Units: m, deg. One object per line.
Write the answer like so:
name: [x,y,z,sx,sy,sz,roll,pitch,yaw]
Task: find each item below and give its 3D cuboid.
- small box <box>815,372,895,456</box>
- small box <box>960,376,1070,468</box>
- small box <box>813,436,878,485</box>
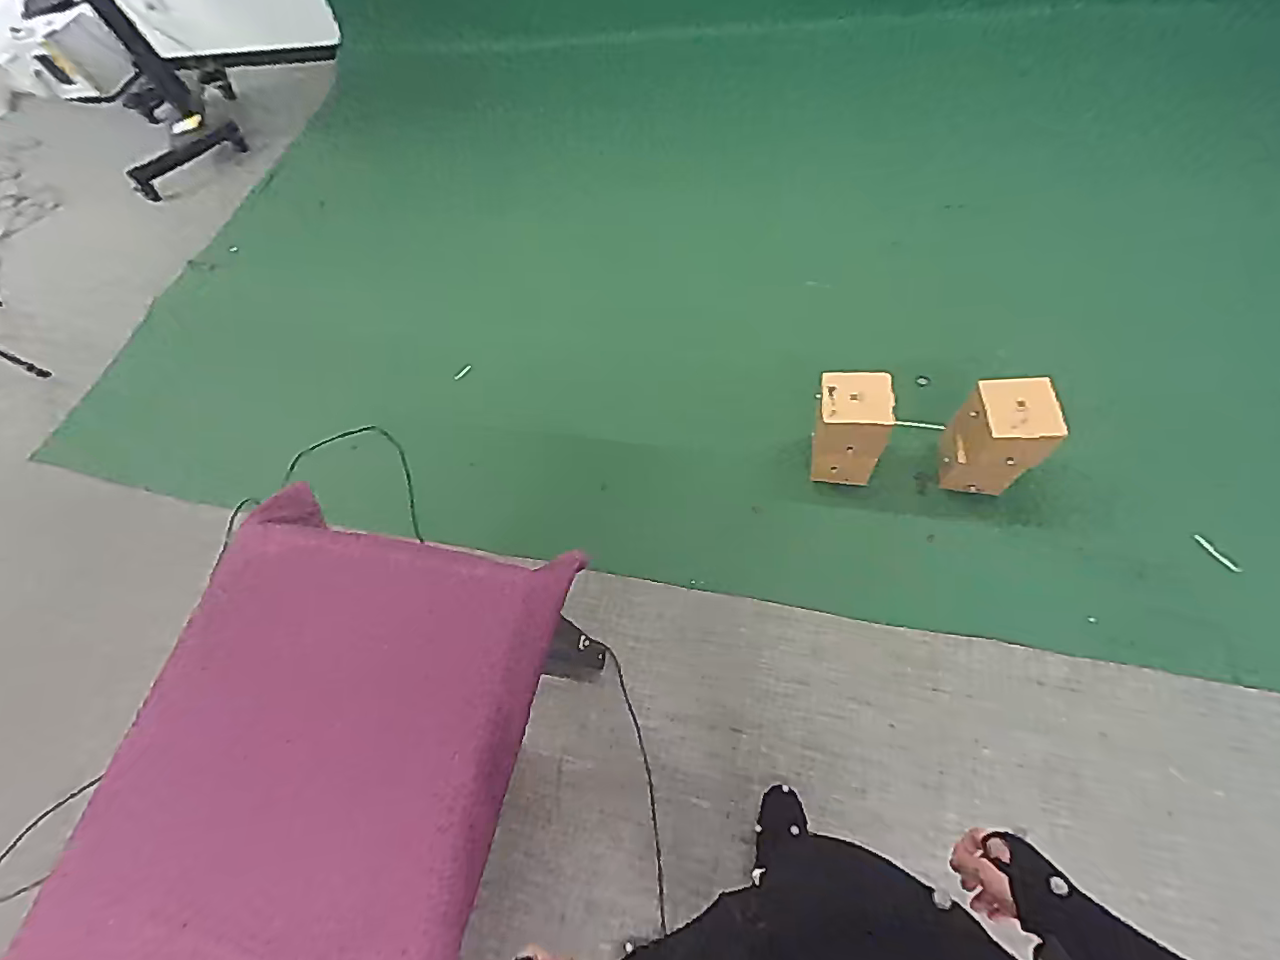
small box: [0.585,-0.177,1.487,0.179,0.176,0.168,4,63,12]
small box: [0.955,-0.146,1.399,0.168,0.176,0.179,-2,63,10]
small box: [0.617,-0.101,1.628,0.168,0.176,0.179,5,63,14]
